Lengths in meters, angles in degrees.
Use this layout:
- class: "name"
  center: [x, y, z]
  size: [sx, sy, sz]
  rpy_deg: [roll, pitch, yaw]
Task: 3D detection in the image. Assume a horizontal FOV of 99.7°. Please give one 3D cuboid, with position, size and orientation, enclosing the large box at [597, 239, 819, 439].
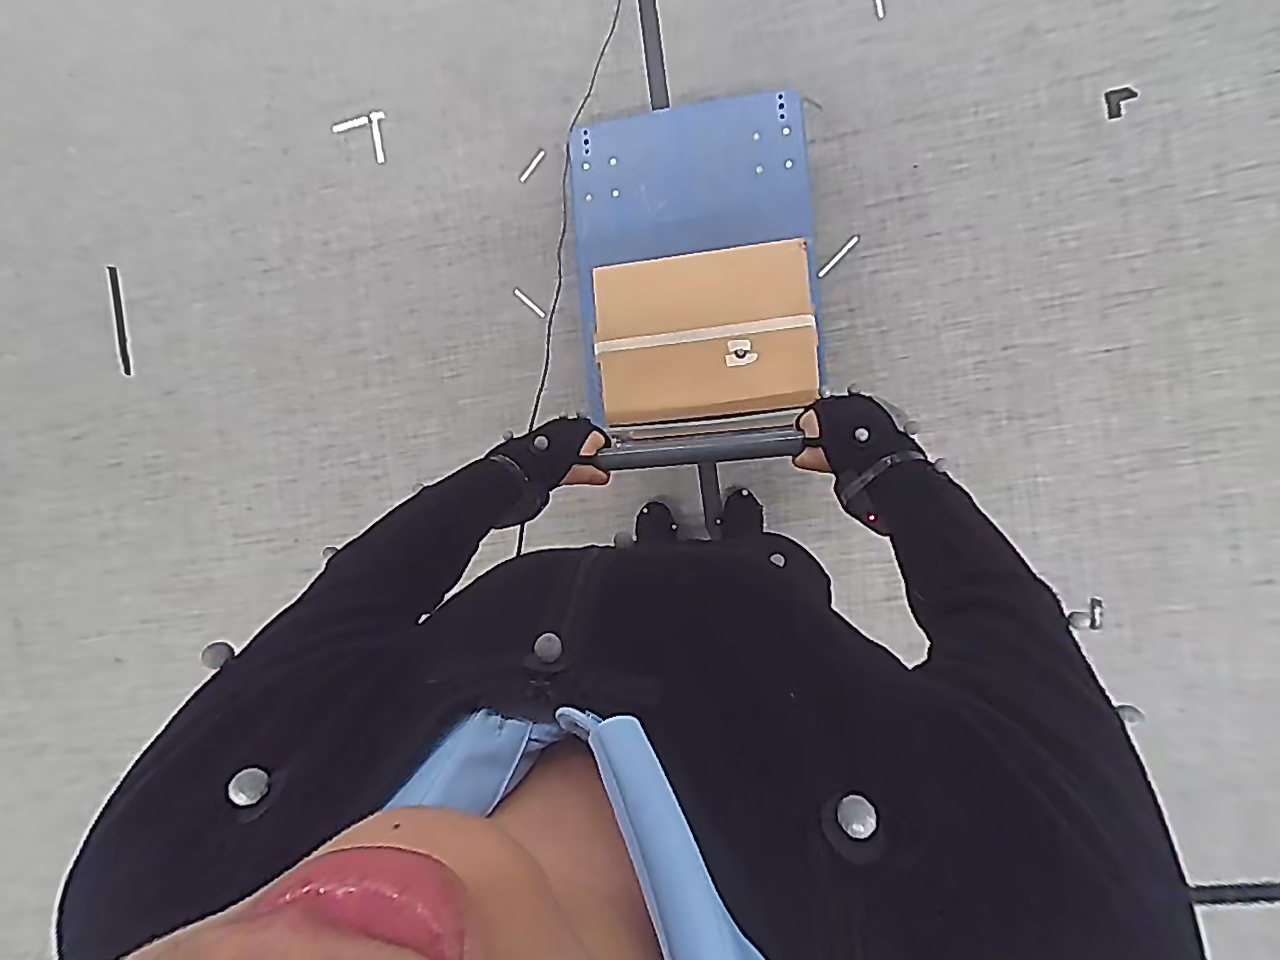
- class: "large box"
  center: [0.143, -0.276, 1.181]
  size: [0.408, 0.320, 0.320]
  rpy_deg: [-5, 89, 8]
